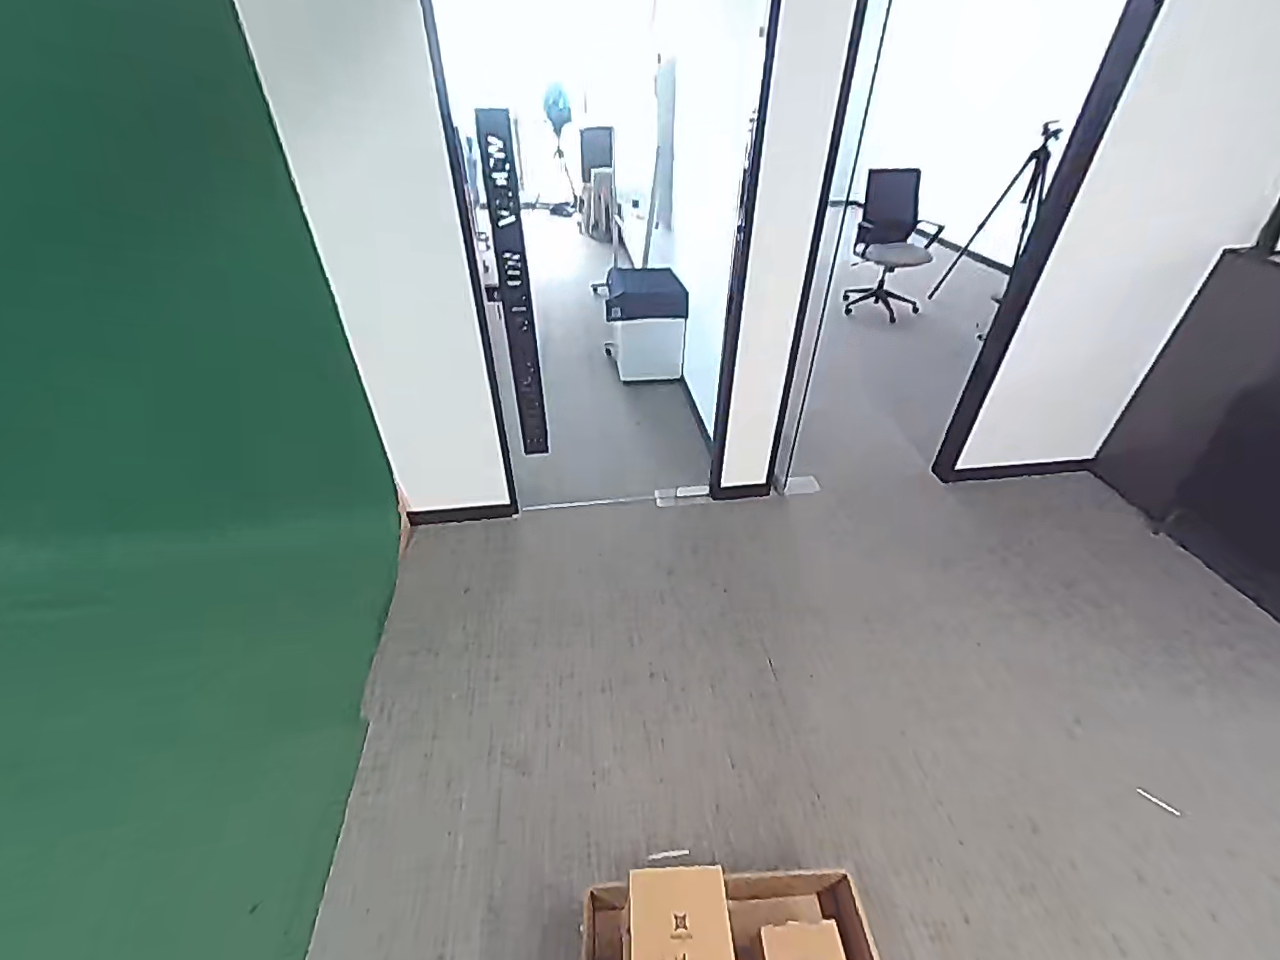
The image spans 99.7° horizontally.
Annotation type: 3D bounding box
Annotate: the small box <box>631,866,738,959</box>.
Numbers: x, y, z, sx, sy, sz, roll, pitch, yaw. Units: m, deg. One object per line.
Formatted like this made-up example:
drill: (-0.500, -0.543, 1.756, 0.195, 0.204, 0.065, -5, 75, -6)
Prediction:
small box: (0.069, 0.794, 0.924, 0.168, 0.176, 0.179, -1, 36, -2)
